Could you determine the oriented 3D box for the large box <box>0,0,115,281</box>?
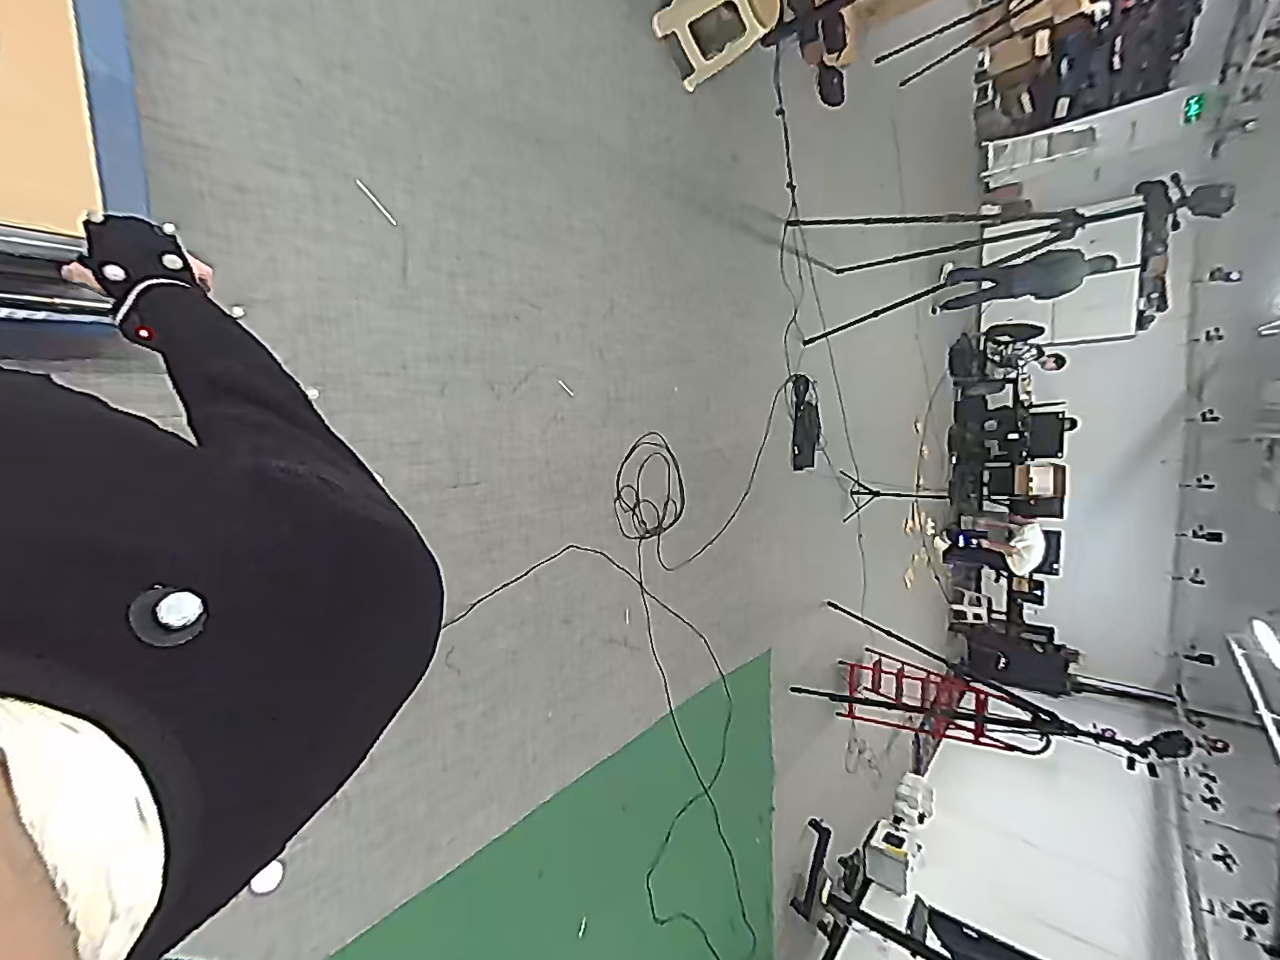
[{"bbox_3d":[-1.046,-0.551,0.810,0.320,0.320,0.408,-10,99,-48],"label":"large box"}]
